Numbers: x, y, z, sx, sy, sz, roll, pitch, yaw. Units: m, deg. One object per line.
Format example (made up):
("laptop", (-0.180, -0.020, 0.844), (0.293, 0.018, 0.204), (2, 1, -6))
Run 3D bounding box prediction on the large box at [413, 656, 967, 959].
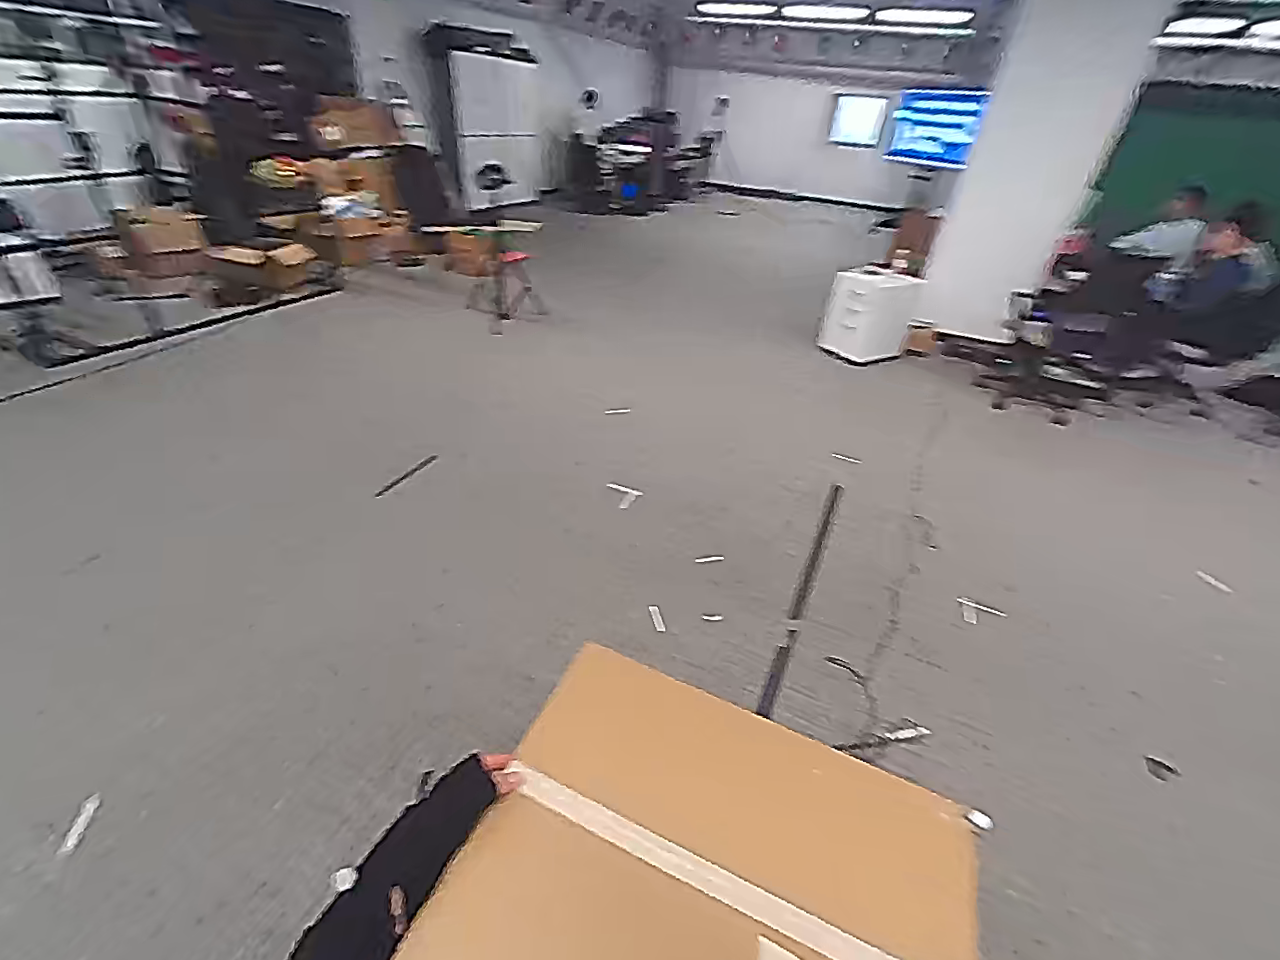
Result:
("large box", (0.050, 0.457, 0.549), (0.408, 0.320, 0.320), (20, 42, 15))
